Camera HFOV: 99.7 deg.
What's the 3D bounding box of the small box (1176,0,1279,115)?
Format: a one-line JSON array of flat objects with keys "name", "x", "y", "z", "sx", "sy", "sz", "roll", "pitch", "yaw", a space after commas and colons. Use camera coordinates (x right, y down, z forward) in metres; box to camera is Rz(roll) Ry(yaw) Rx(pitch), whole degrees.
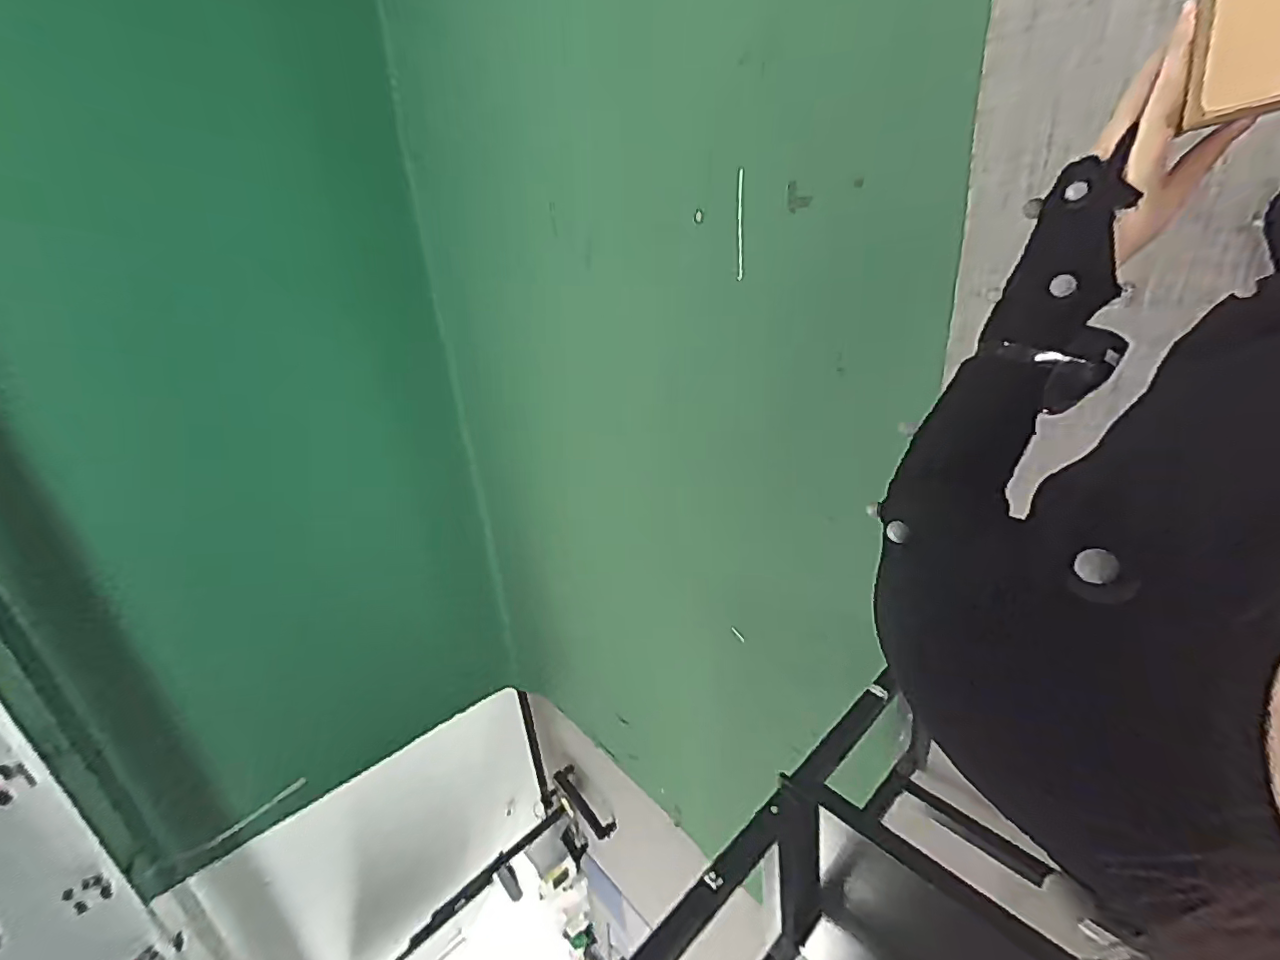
[{"name": "small box", "x": 0.371, "y": -0.292, "z": 0.246, "sx": 0.168, "sy": 0.176, "sz": 0.179, "roll": 7, "pitch": 118, "yaw": 40}]
